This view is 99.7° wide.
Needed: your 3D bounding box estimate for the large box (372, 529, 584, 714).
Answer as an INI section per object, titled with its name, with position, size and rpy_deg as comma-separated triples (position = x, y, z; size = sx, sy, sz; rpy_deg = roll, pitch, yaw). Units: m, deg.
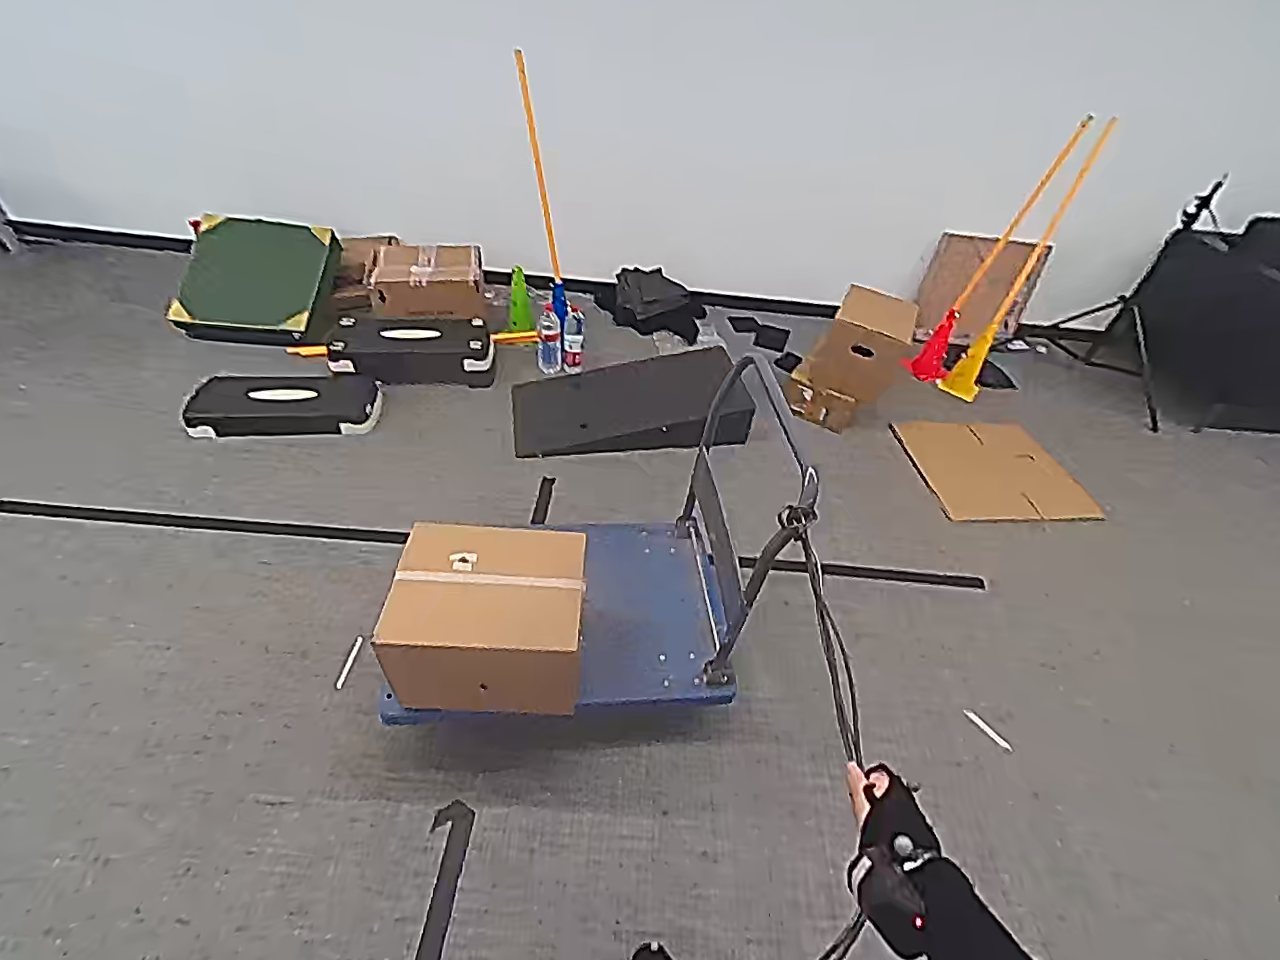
[large box]
position = -0.338, 0.336, 1.268
size = 0.408, 0.320, 0.320
rpy_deg = 3, 43, -4
